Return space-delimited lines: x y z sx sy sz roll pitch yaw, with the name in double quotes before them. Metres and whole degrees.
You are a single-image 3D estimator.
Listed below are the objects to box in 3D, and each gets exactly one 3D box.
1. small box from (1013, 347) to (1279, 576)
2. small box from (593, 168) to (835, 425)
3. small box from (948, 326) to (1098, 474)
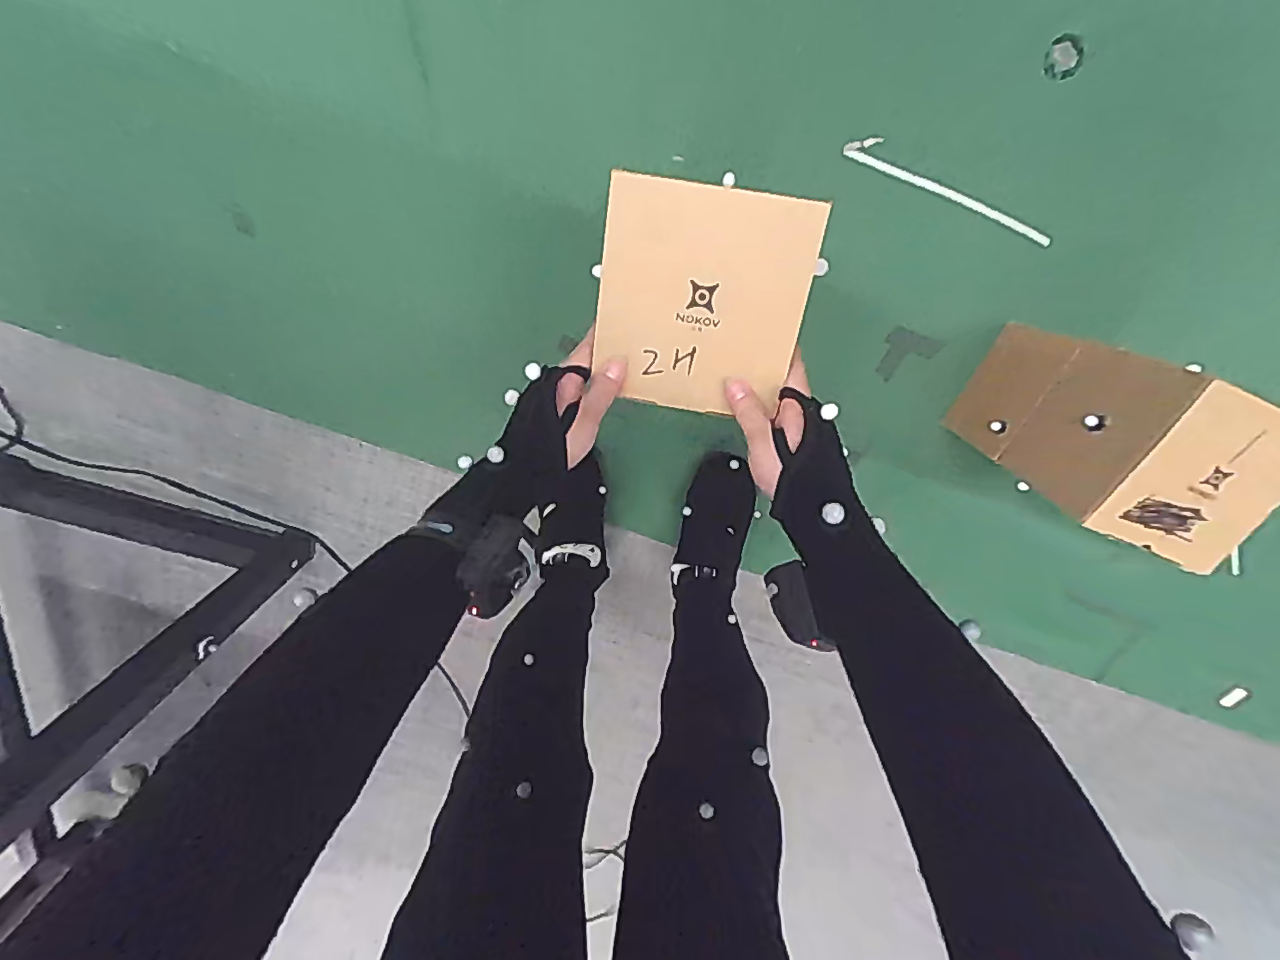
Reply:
"small box" 0.575 -0.029 0.616 0.168 0.176 0.179 21 114 -8
"small box" 0.060 -0.171 0.500 0.168 0.176 0.179 10 116 3
"small box" 0.582 -0.099 0.764 0.168 0.176 0.179 20 115 -7
